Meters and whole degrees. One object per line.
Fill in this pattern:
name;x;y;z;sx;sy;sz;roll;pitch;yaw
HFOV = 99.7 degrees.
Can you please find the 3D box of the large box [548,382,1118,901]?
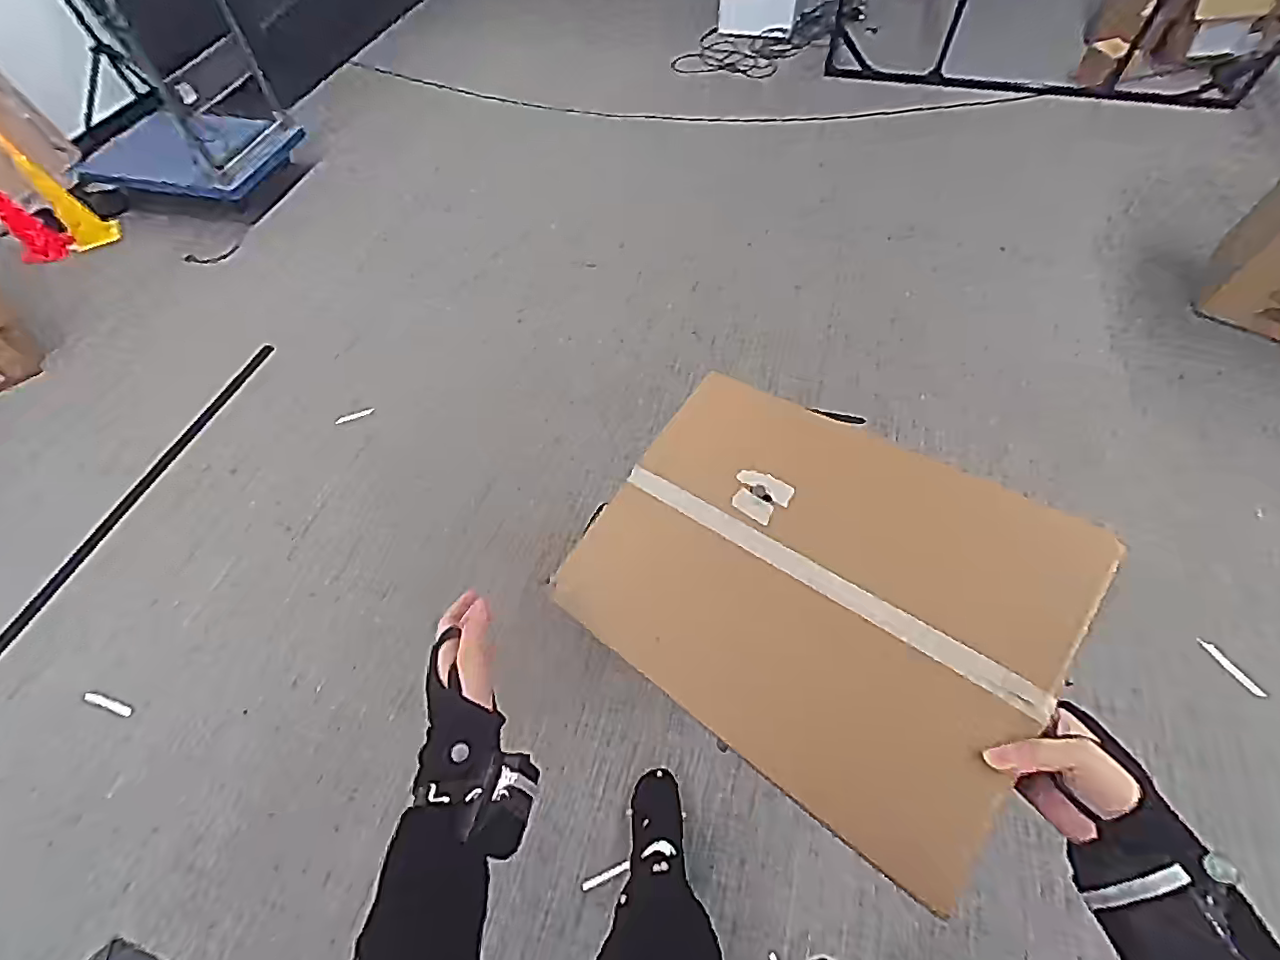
large box;0.188;0.153;0.610;0.408;0.320;0.320;29;74;31
